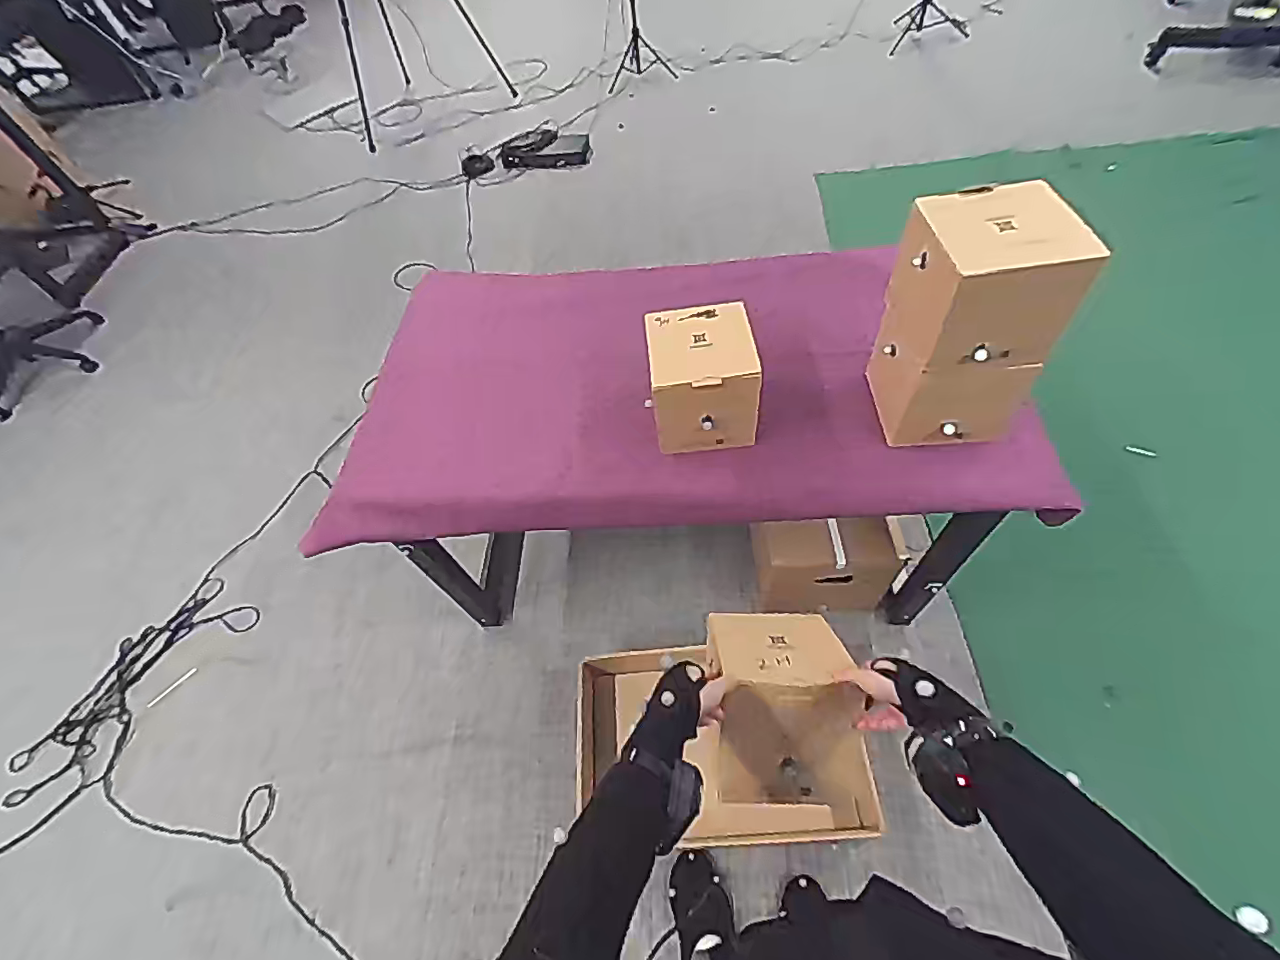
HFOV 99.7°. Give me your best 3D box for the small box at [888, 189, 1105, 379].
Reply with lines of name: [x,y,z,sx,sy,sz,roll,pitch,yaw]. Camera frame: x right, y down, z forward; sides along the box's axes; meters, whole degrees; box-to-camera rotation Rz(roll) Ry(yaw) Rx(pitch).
small box: [0.458,-0.262,0.737,0.168,0.176,0.179,-6,54,6]

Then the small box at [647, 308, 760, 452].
small box: [0.104,-0.160,0.916,0.168,0.176,0.179,-6,55,3]

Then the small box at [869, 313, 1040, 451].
small box: [0.483,-0.167,0.867,0.168,0.176,0.179,-3,55,7]

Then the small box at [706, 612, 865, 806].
small box: [0.178,0.290,0.714,0.168,0.176,0.179,0,11,1]
